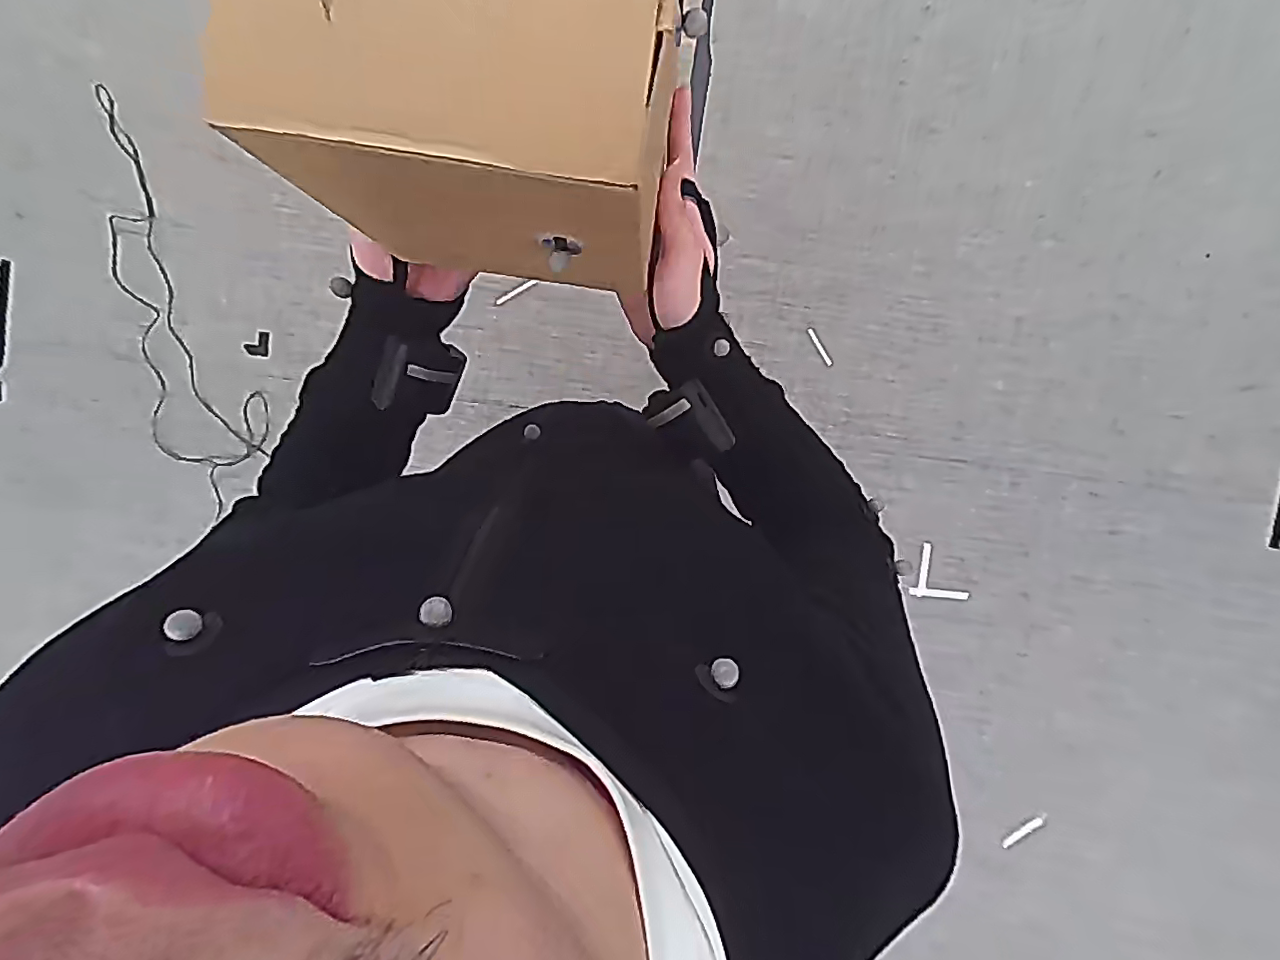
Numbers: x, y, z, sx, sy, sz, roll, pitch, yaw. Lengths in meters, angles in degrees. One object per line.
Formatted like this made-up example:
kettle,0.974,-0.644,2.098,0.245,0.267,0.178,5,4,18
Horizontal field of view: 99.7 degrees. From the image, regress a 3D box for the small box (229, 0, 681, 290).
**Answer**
small box,-0.072,-0.215,0.298,0.179,0.176,0.168,8,94,1
